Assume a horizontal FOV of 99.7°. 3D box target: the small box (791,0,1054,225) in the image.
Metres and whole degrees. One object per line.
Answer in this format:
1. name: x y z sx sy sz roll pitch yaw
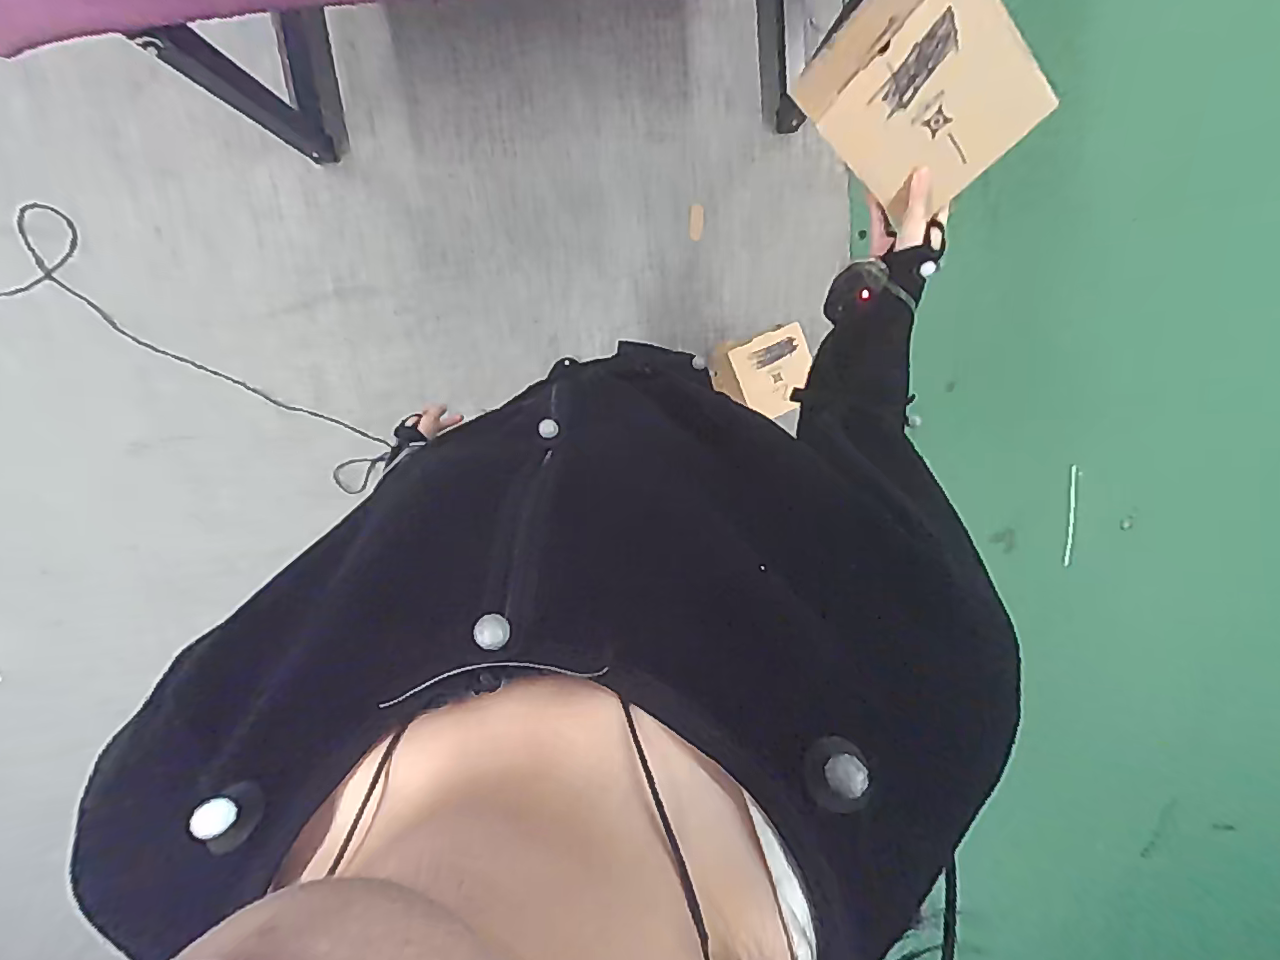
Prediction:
1. small box: 0.290 -0.427 0.592 0.179 0.176 0.168 31 129 -26

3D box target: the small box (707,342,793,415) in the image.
1. small box: 0.276 -0.262 1.398 0.179 0.176 0.168 4 102 -4
